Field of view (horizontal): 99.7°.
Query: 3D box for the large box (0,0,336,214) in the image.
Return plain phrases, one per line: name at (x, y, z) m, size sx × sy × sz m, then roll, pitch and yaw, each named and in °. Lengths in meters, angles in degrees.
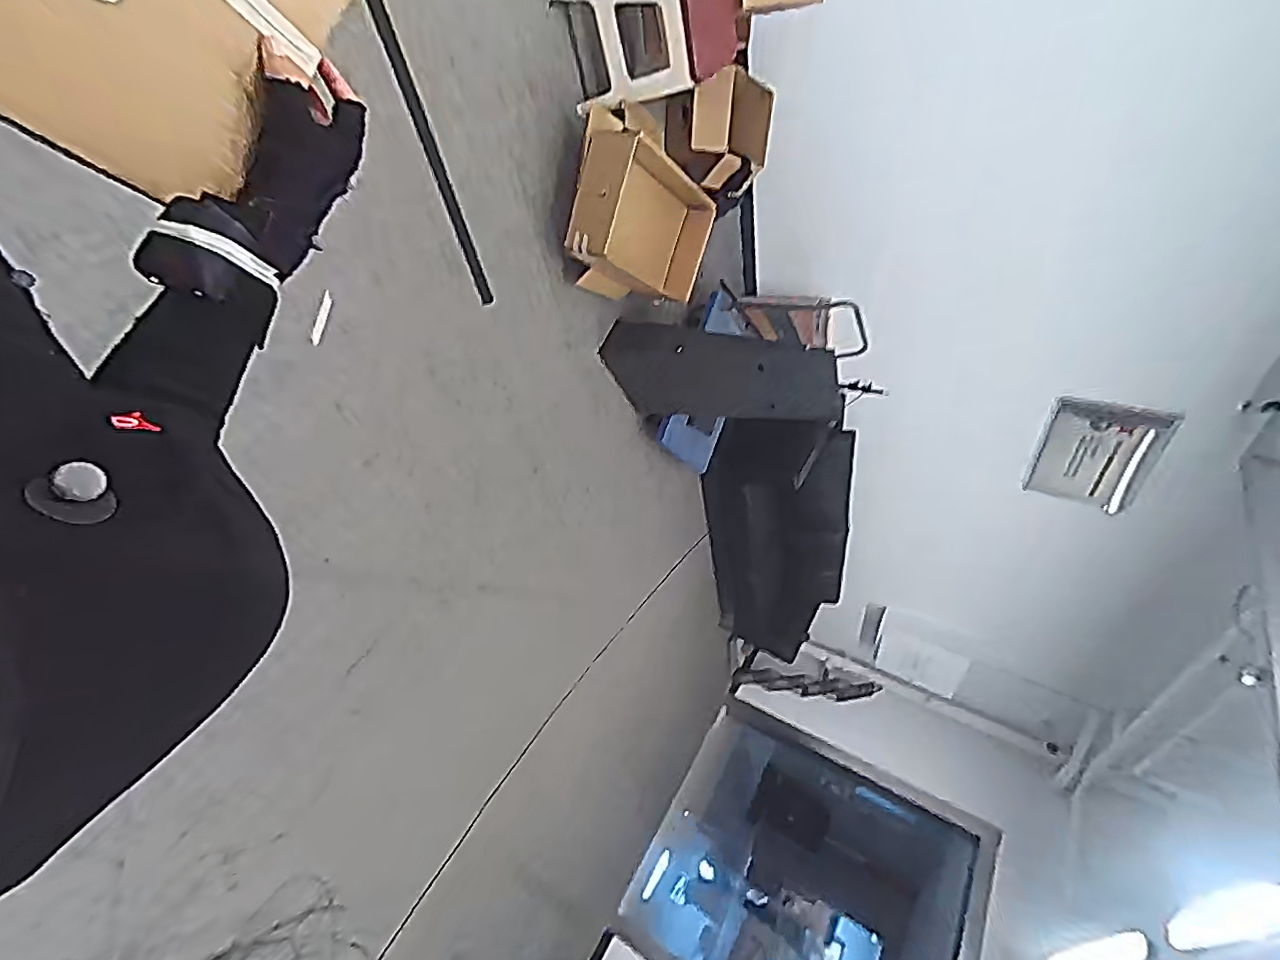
large box at (-0.476, -0.452, 0.340) m, size 0.320 × 0.320 × 0.408 m, roll -61°, pitch 152°, yaw 2°
